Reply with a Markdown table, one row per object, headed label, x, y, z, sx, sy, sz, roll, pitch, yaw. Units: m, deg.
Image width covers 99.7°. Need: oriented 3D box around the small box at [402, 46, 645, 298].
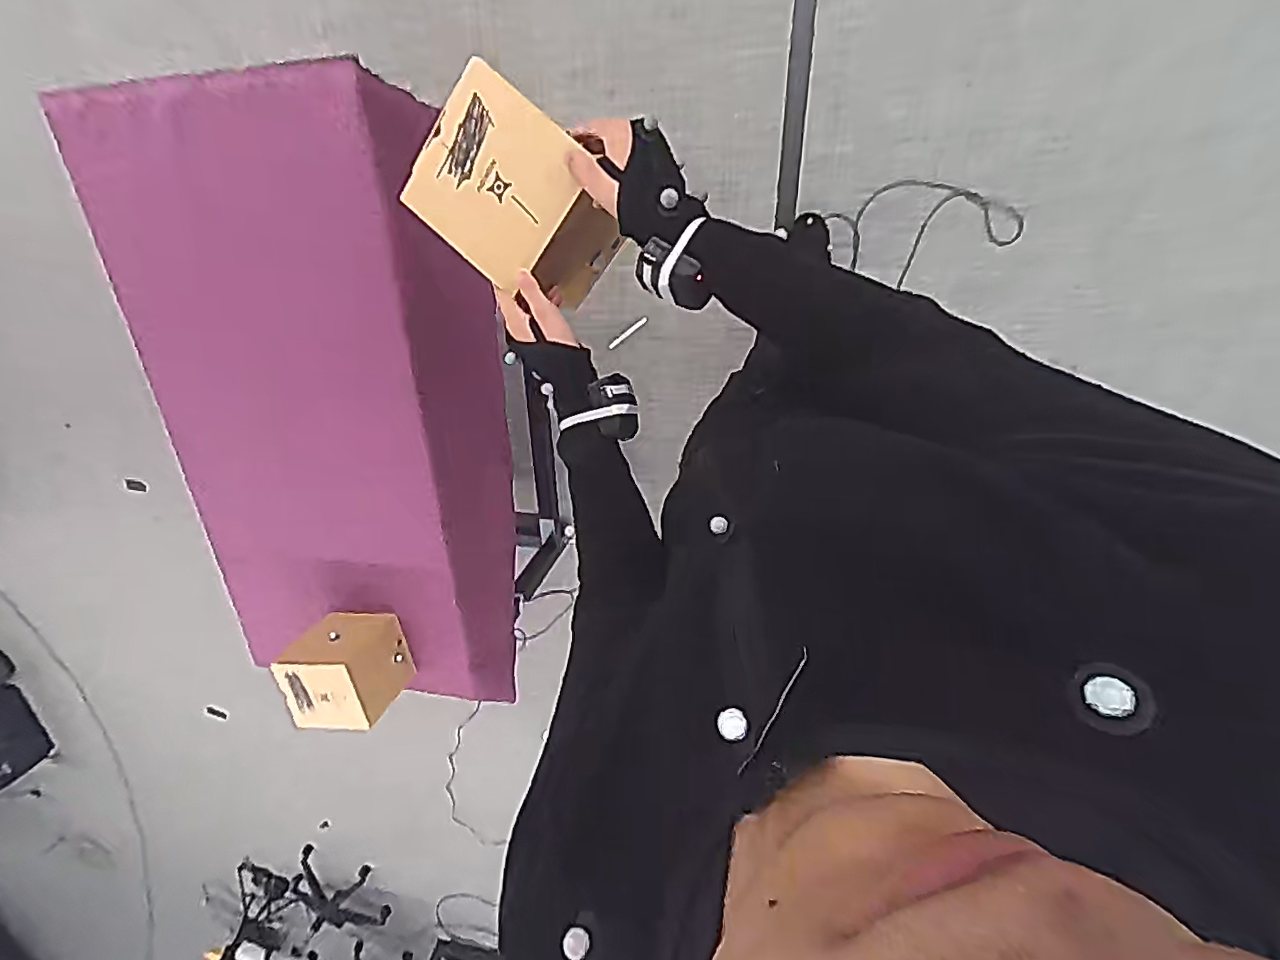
| label | x | y | z | sx | sy | sz | roll | pitch | yaw |
| --- | --- | --- | --- | --- | --- | --- | --- | --- | --- |
| small box | -0.124 | -0.329 | 0.624 | 0.179 | 0.176 | 0.168 | 43 | 112 | 4 |
